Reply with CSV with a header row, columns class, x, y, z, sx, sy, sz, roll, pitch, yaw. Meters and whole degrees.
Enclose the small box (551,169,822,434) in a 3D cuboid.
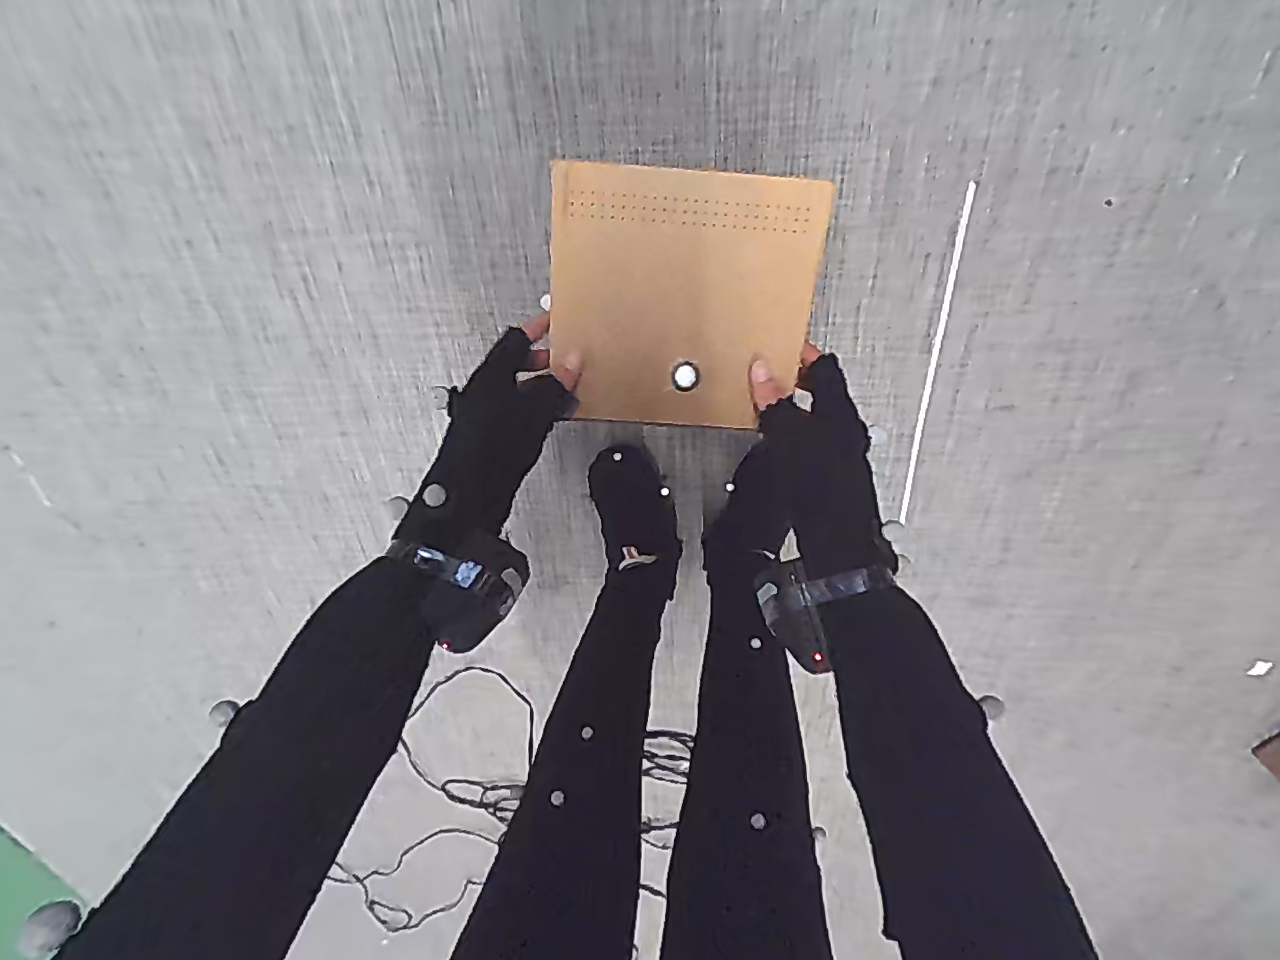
class,x,y,z,sx,sy,sz,roll,pitch,yaw
small box,0.028,-0.144,0.438,0.179,0.168,0.176,3,112,0
